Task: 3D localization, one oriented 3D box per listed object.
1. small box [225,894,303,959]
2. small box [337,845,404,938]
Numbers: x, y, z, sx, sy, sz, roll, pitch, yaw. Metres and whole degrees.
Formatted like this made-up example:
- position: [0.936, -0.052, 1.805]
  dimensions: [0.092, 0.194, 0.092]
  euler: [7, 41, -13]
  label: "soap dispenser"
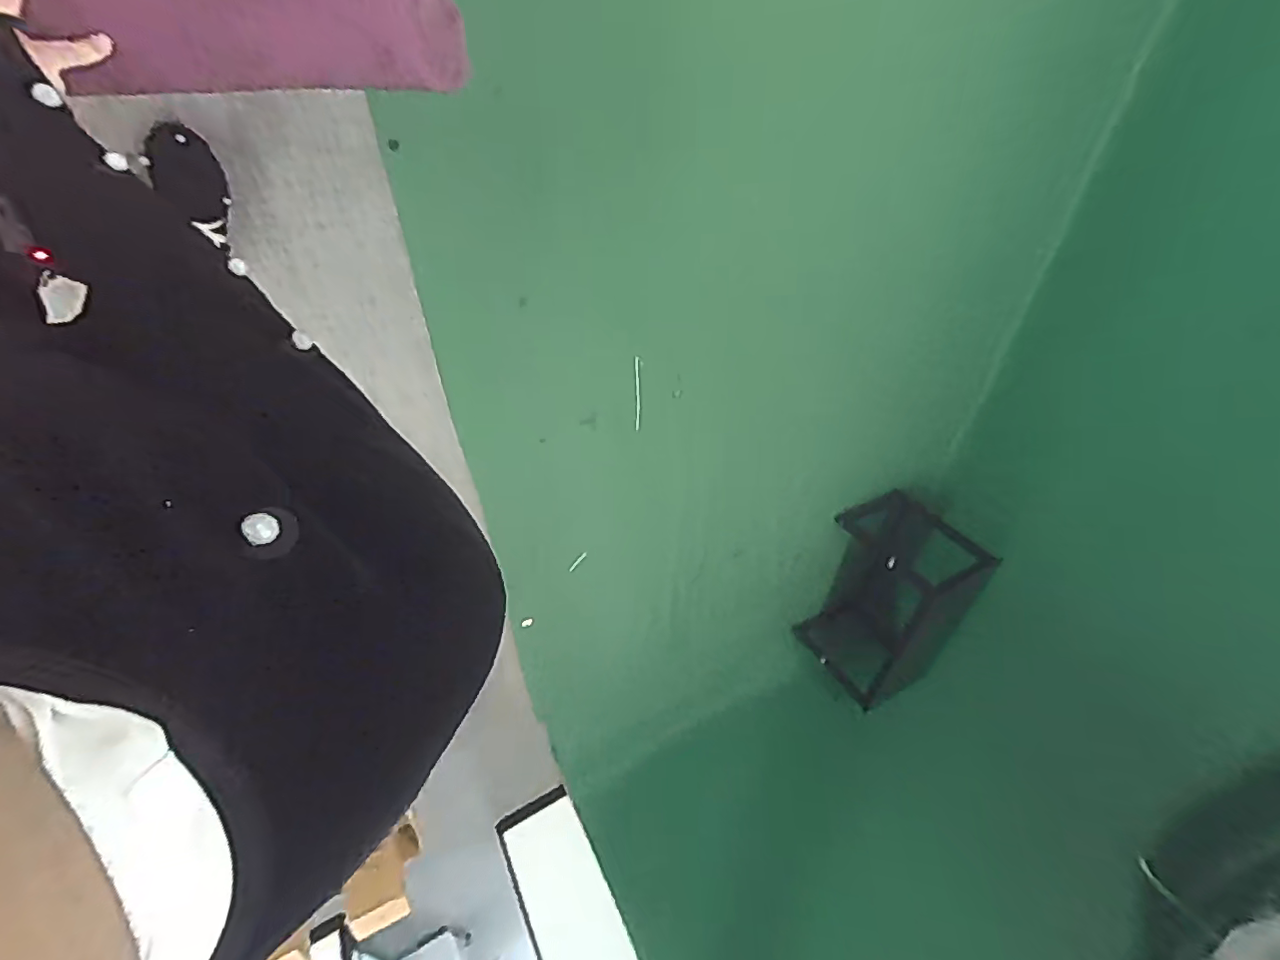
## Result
- position: [-1.147, 1.419, 1.657]
  dimensions: [0.168, 0.176, 0.179]
  euler: [-14, 131, -28]
  label: "small box"
- position: [-0.894, 1.360, 1.795]
  dimensions: [0.168, 0.176, 0.179]
  euler: [-13, 131, -28]
  label: "small box"
